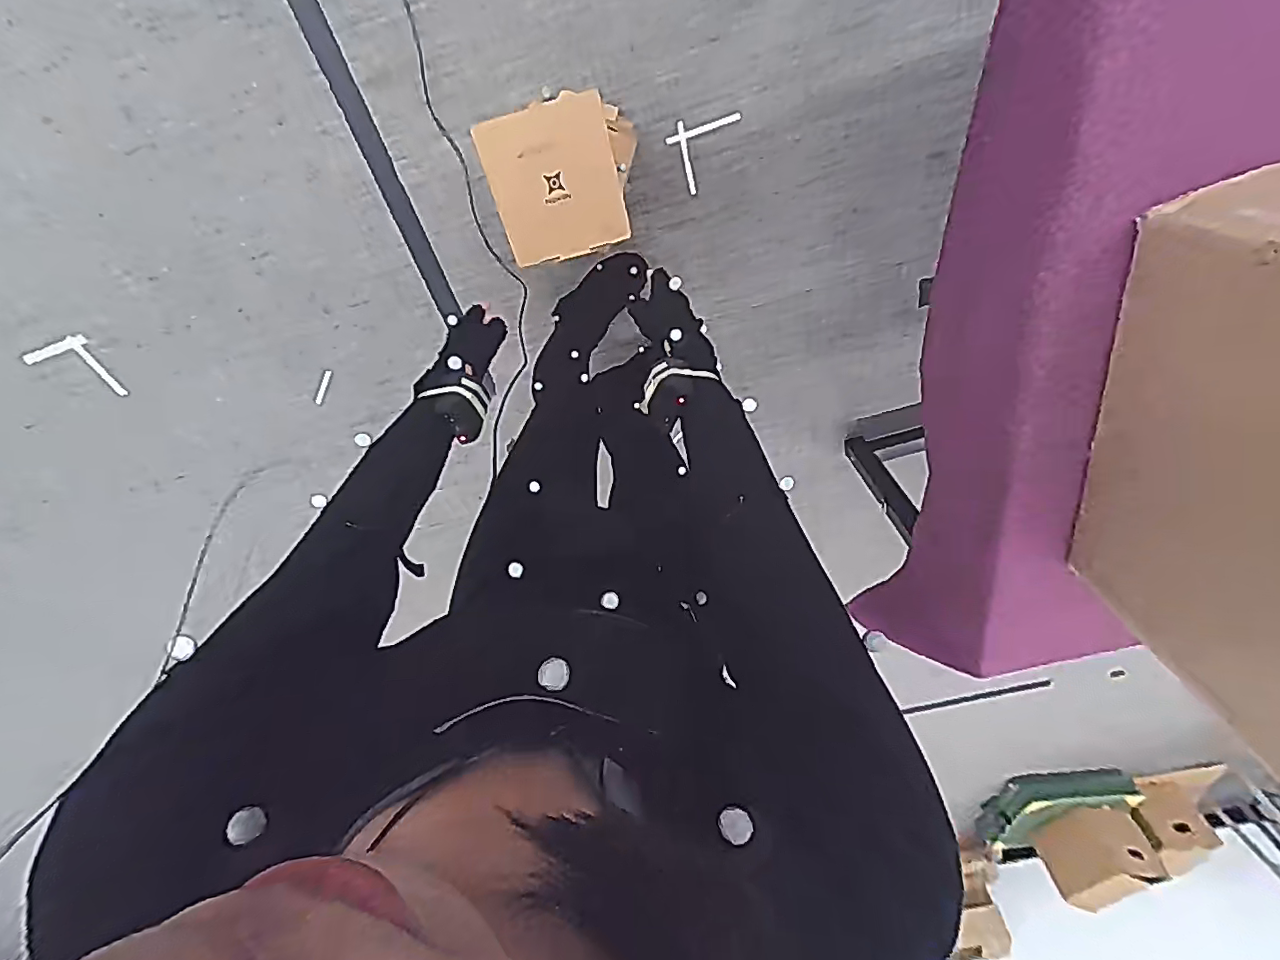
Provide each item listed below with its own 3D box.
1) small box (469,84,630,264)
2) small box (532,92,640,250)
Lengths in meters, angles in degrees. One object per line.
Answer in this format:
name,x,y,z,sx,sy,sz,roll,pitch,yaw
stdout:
small box,-0.114,-0.428,0.754,0.168,0.176,0.179,-14,125,4
small box,-0.109,-0.512,0.896,0.168,0.176,0.179,13,123,-13
